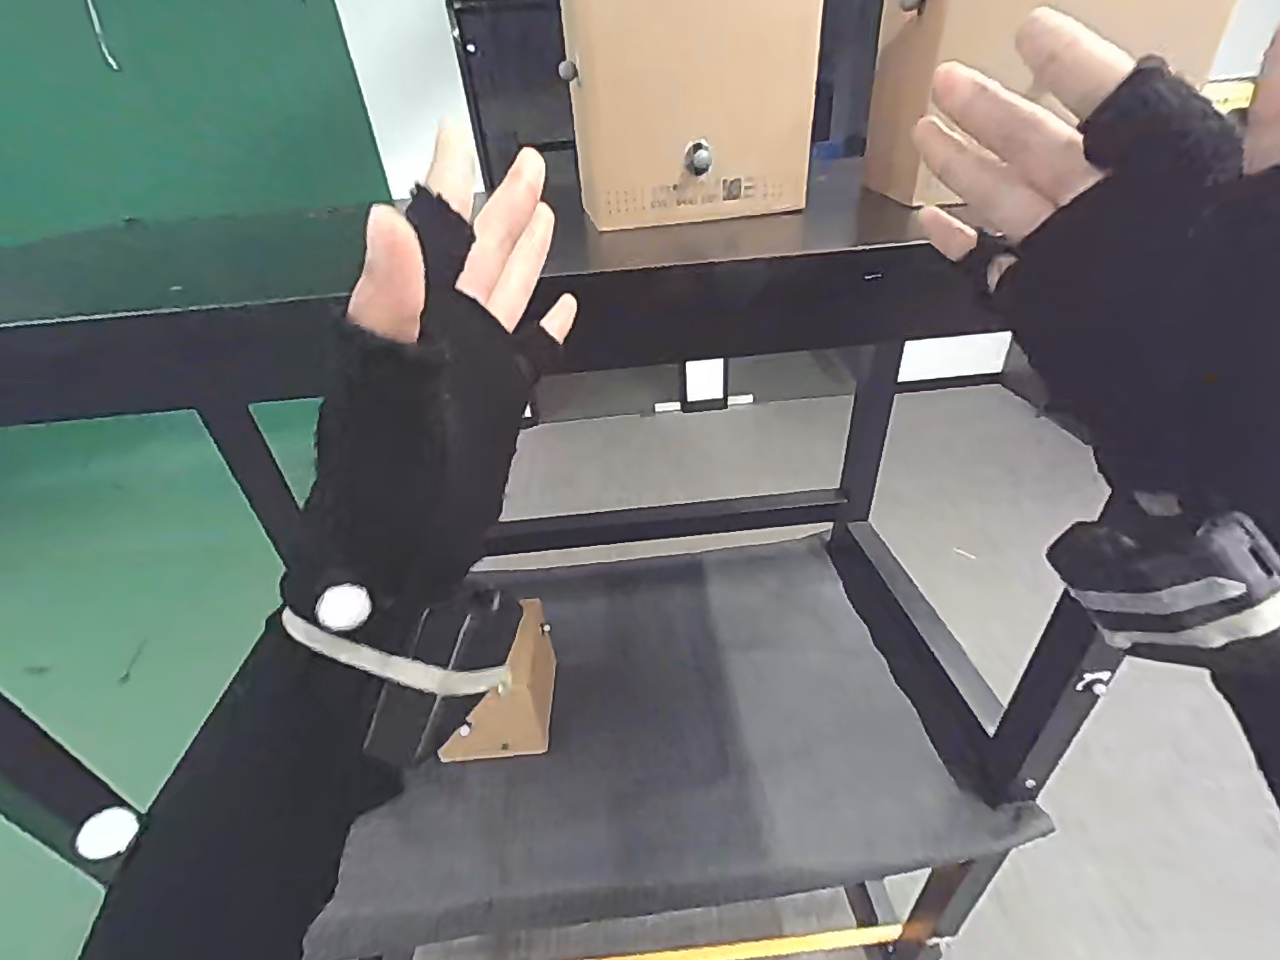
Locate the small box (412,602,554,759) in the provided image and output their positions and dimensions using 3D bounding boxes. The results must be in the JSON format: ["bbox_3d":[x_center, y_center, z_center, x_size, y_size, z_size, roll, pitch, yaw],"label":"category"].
[{"bbox_3d":[-0.235,0.323,0.865,0.168,0.176,0.179,-5,32,0],"label":"small box"}]

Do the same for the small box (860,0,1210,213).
[{"bbox_3d":[0.279,-0.307,0.414,0.168,0.176,0.179,1,33,8],"label":"small box"}]
